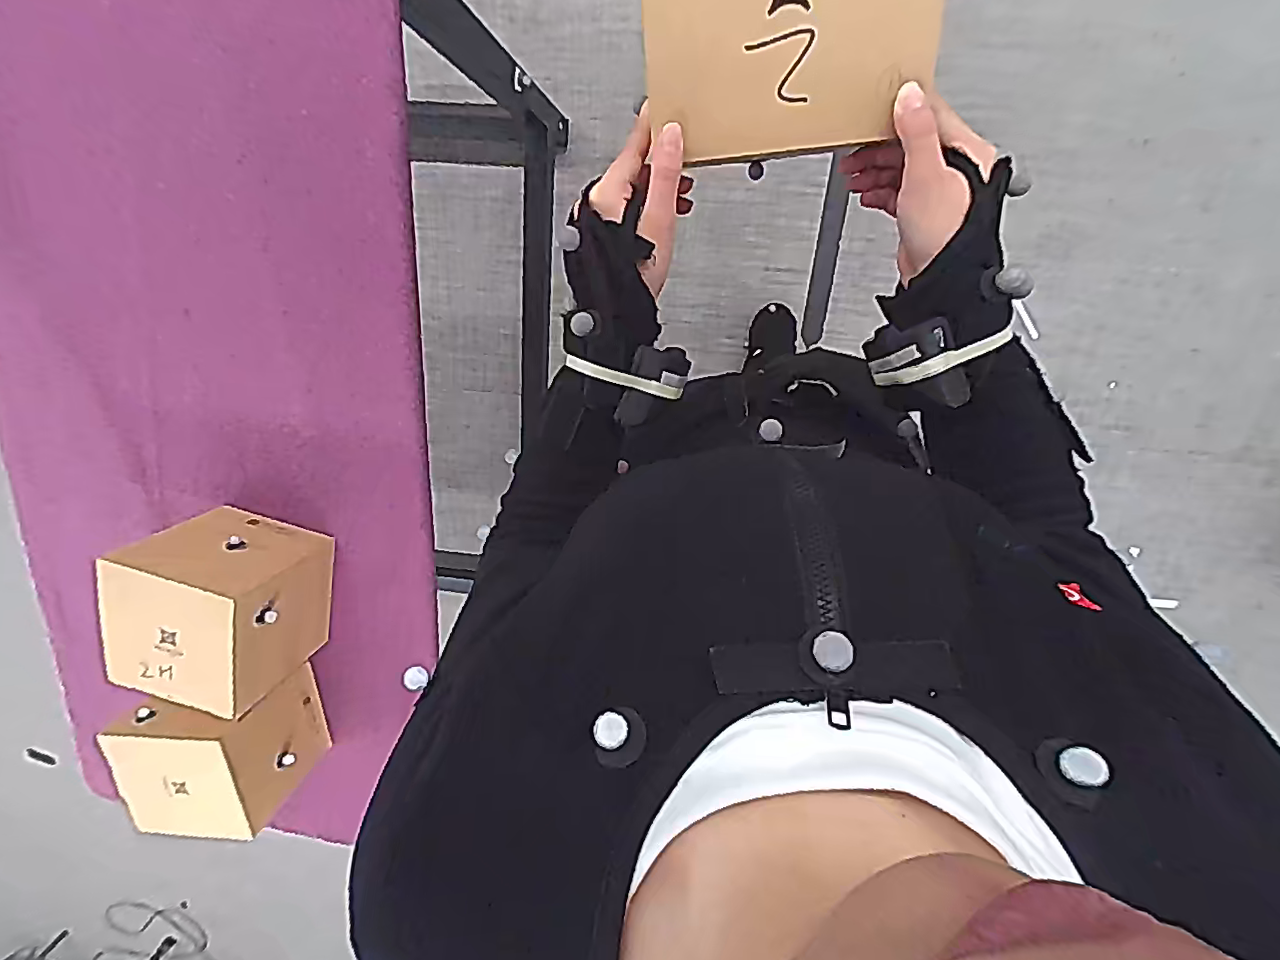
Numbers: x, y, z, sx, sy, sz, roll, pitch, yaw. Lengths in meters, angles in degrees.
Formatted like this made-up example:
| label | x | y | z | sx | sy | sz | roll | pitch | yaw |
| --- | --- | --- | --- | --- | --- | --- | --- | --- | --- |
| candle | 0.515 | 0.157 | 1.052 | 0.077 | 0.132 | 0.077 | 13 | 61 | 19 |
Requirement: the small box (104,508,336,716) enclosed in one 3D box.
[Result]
| label | x | y | z | sx | sy | sz | roll | pitch | yaw |
| --- | --- | --- | --- | --- | --- | --- | --- | --- | --- |
| small box | -0.519 | 0.156 | 0.692 | 0.168 | 0.176 | 0.179 | 16 | 110 | 4 |

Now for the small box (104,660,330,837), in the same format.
| label | x | y | z | sx | sy | sz | roll | pitch | yaw |
| --- | --- | --- | --- | --- | --- | --- | --- | --- | --- |
| small box | -0.577 | 0.367 | 0.770 | 0.179 | 0.176 | 0.168 | -1 | 108 | 8 |
